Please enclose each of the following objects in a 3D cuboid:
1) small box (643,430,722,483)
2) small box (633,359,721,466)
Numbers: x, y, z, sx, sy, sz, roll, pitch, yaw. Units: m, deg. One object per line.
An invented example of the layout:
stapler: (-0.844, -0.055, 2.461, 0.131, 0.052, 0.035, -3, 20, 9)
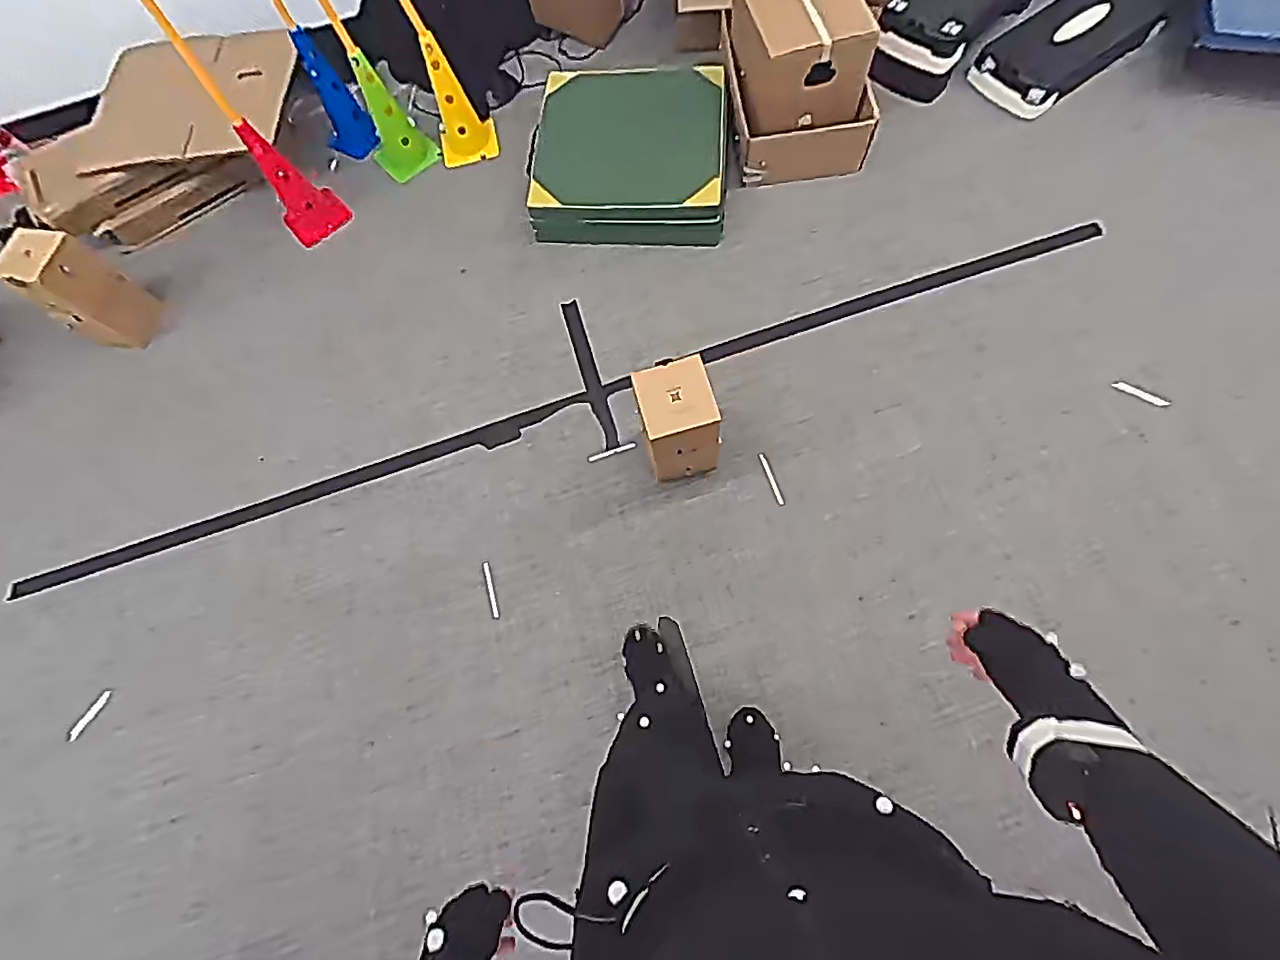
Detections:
small box: (0.107, -0.108, 1.439, 0.179, 0.176, 0.168, -14, 70, -2)
small box: (0.086, -0.155, 1.284, 0.168, 0.176, 0.179, -15, 71, 1)
